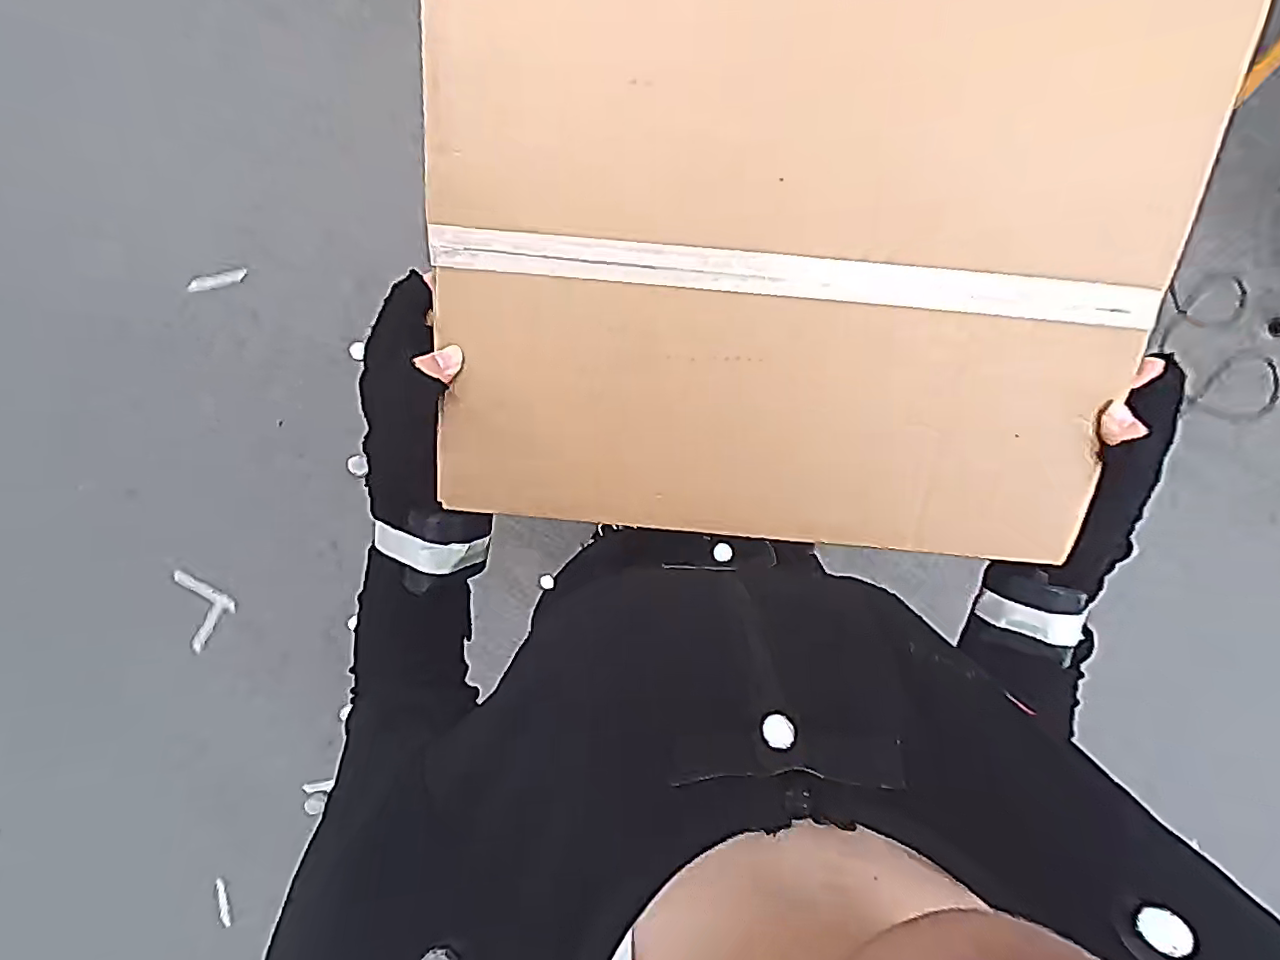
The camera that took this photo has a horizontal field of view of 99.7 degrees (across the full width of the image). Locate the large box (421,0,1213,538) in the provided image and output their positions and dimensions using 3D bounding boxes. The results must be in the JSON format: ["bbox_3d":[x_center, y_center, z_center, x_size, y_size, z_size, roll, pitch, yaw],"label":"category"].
[{"bbox_3d":[0.079,-0.162,0.452,0.408,0.320,0.320,4,109,-1],"label":"large box"}]
